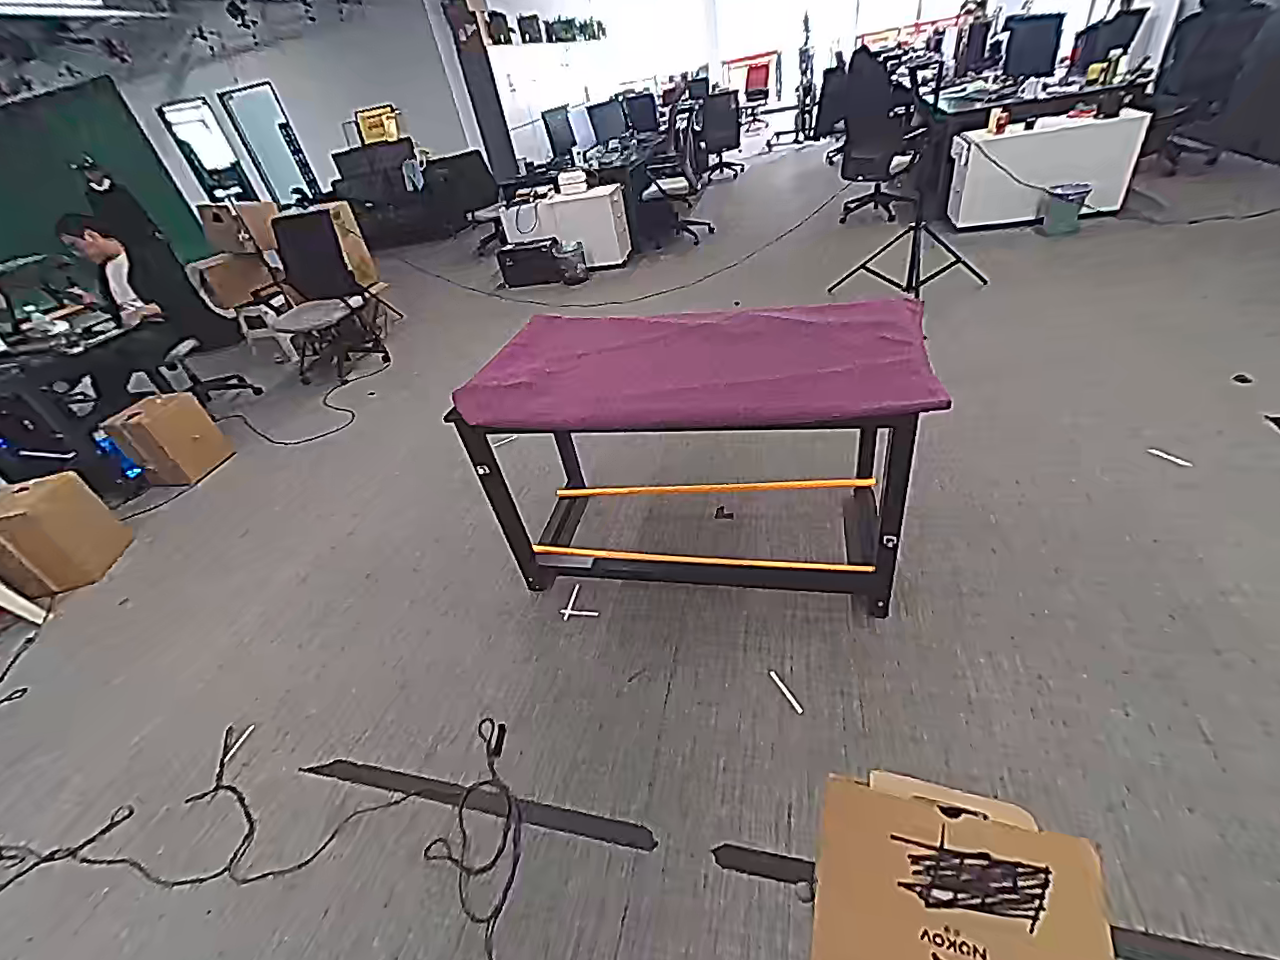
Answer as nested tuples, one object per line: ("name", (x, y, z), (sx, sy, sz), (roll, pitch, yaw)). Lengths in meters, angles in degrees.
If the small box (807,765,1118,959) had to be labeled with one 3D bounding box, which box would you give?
("small box", (0.210, 0.336, 0.386), (0.168, 0.176, 0.179), (5, 53, 21))
